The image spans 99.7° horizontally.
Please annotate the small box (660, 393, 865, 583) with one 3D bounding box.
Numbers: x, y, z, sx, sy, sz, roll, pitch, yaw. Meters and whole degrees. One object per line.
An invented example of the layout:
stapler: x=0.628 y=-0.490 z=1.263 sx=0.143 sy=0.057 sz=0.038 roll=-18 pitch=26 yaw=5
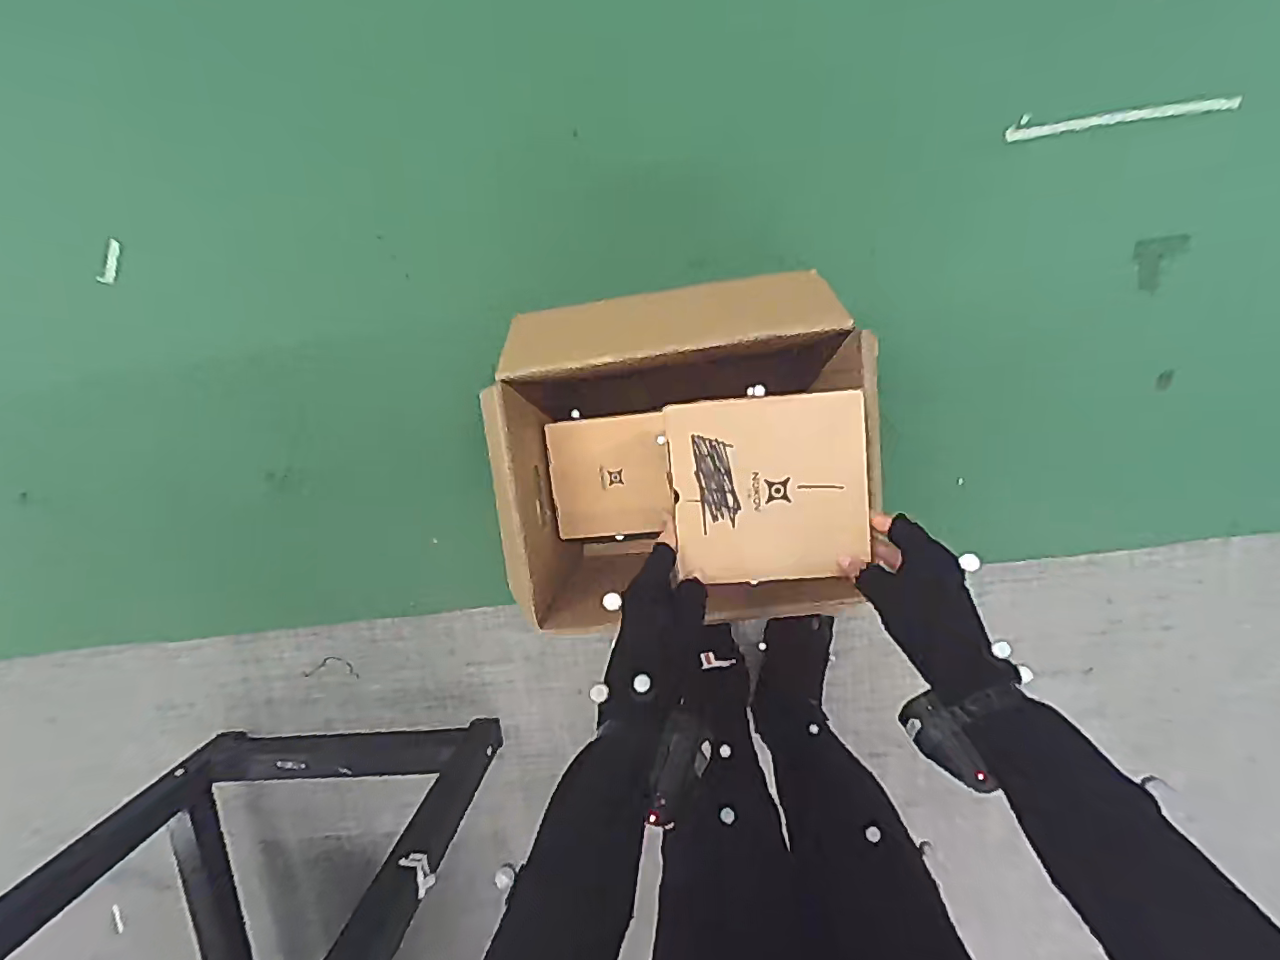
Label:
small box: x=0.117 y=0.003 z=0.566 sx=0.179 sy=0.176 sz=0.168 roll=-4 pitch=95 yaw=4
